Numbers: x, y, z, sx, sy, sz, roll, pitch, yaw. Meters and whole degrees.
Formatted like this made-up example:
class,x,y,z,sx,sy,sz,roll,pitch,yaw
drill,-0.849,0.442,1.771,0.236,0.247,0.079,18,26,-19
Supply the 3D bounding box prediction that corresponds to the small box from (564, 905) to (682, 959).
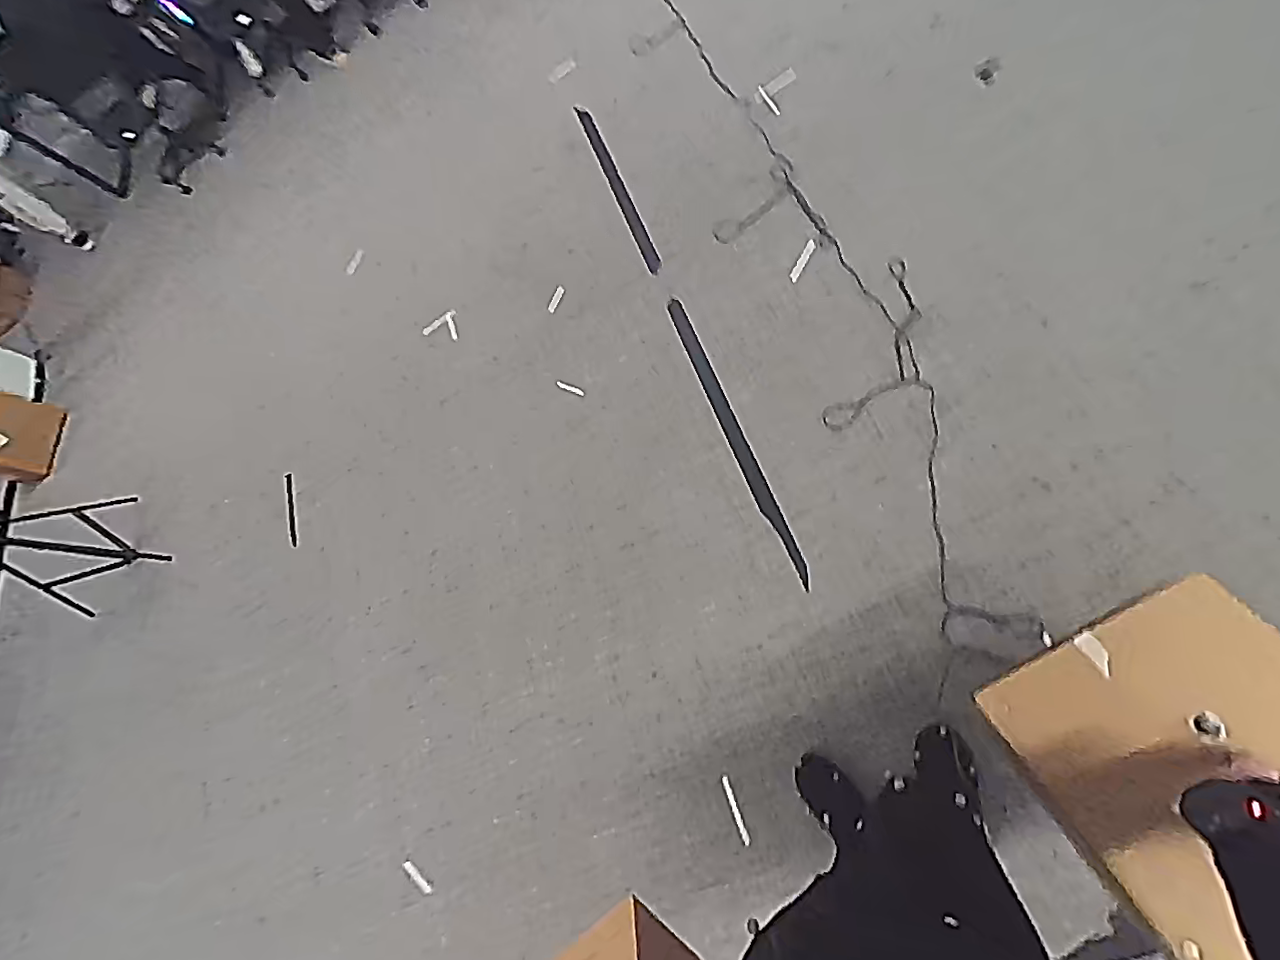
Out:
class,x,y,z,sx,sy,sz,roll,pitch,yaw
small box,-0.013,0.715,0.684,0.168,0.179,0.176,-40,98,1
